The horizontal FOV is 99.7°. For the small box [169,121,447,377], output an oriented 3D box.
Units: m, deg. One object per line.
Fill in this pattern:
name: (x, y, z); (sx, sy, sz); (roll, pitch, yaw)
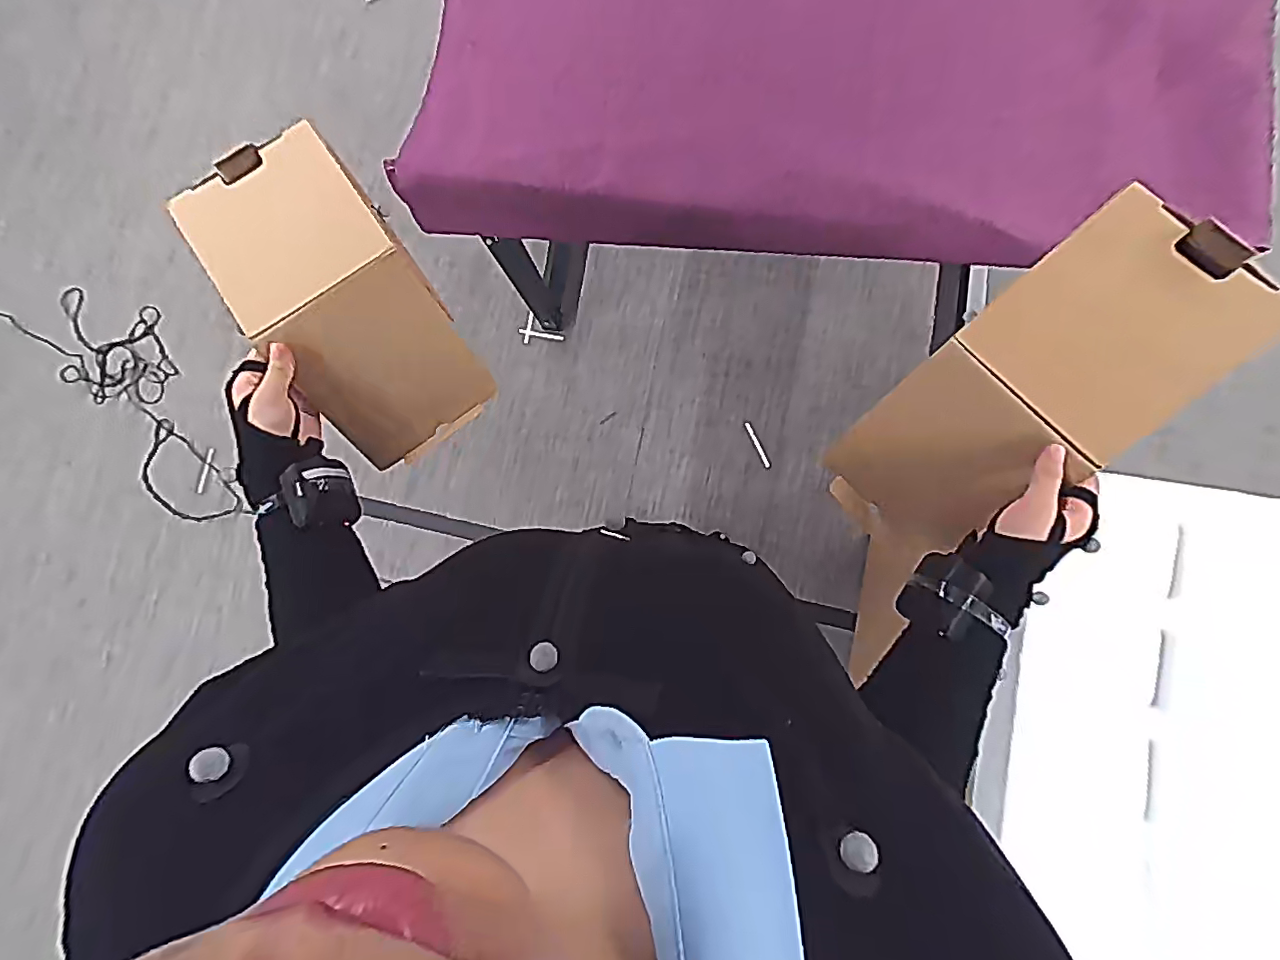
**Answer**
small box: (-0.349, -0.236, 0.606); (0.168, 0.176, 0.179); (-34, 82, -5)
